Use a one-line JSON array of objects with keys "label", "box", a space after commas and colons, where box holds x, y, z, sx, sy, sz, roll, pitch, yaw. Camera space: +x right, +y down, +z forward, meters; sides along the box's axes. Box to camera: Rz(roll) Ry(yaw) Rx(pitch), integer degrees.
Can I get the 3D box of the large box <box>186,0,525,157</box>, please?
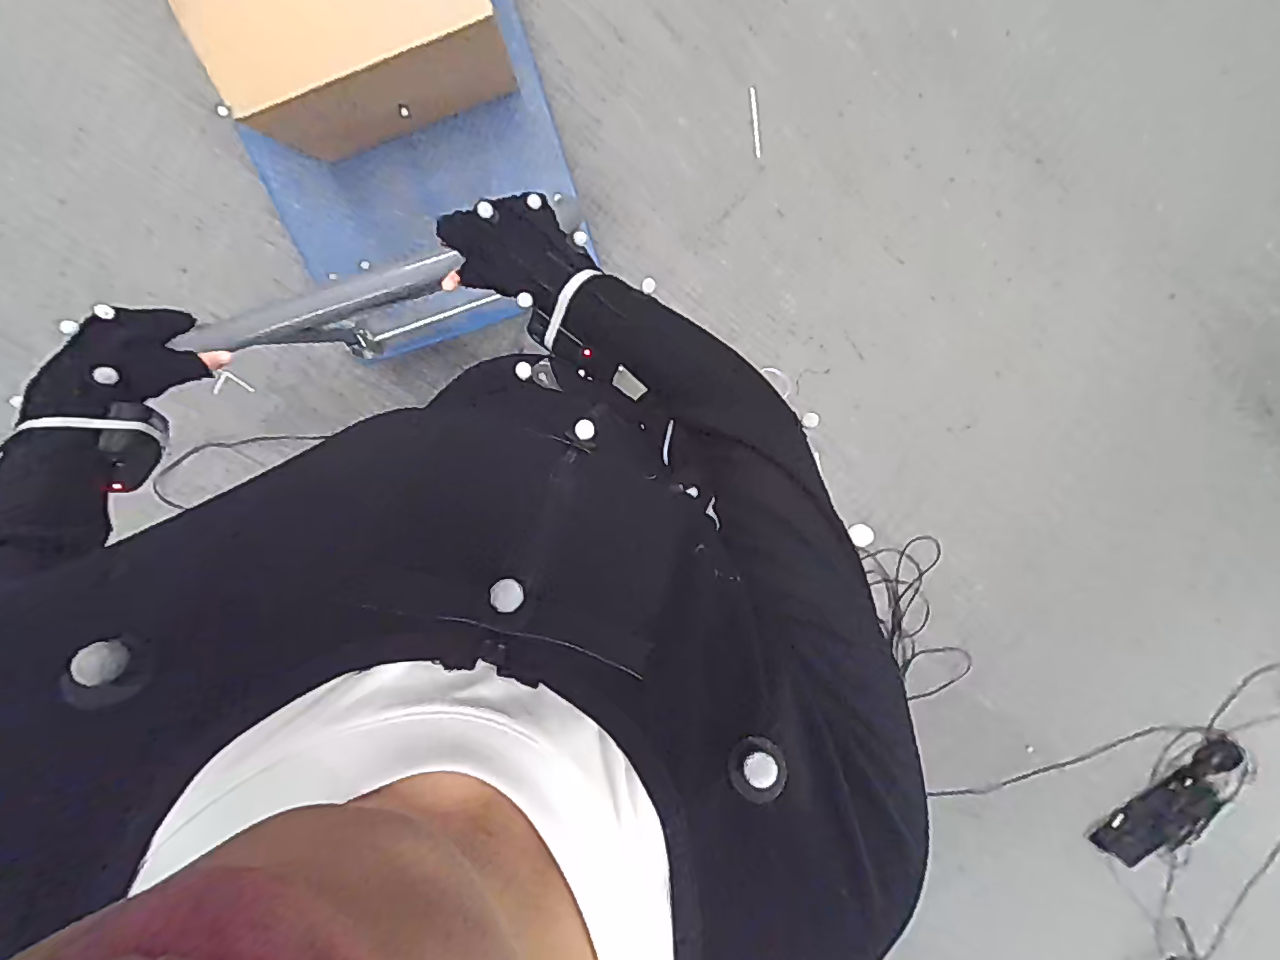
[{"label": "large box", "box": [-0.441, -0.774, 0.854, 0.408, 0.320, 0.320, -20, 110, 2]}]
